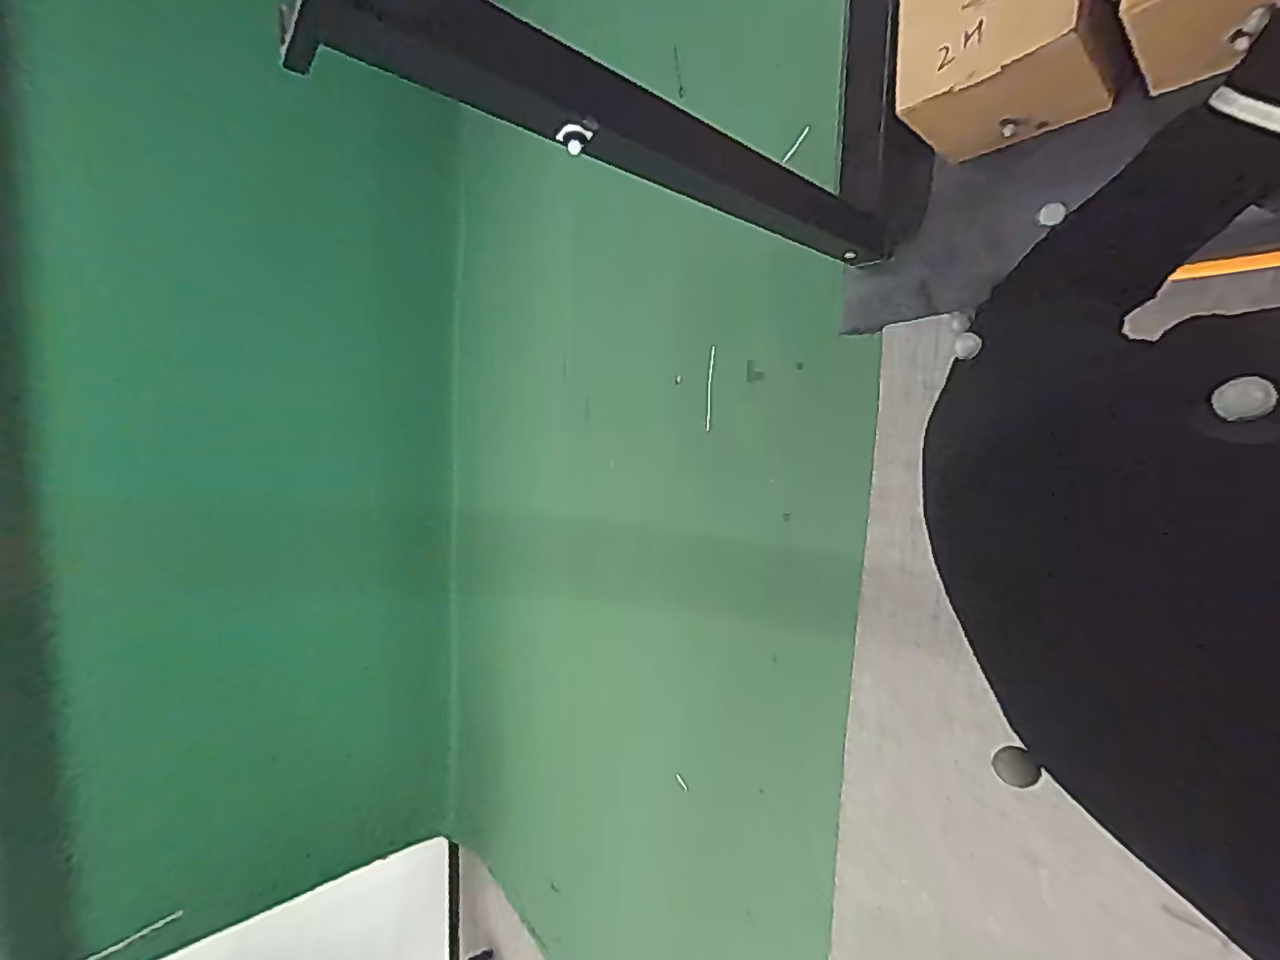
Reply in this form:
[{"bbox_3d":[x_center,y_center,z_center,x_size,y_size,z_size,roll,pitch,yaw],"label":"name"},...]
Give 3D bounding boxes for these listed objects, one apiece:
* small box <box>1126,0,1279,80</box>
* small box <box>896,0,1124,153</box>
[{"bbox_3d":[0.530,-0.491,0.449,0.168,0.176,0.179,6,97,50],"label":"small box"},{"bbox_3d":[0.406,-0.504,0.595,0.168,0.176,0.179,6,96,51],"label":"small box"}]
